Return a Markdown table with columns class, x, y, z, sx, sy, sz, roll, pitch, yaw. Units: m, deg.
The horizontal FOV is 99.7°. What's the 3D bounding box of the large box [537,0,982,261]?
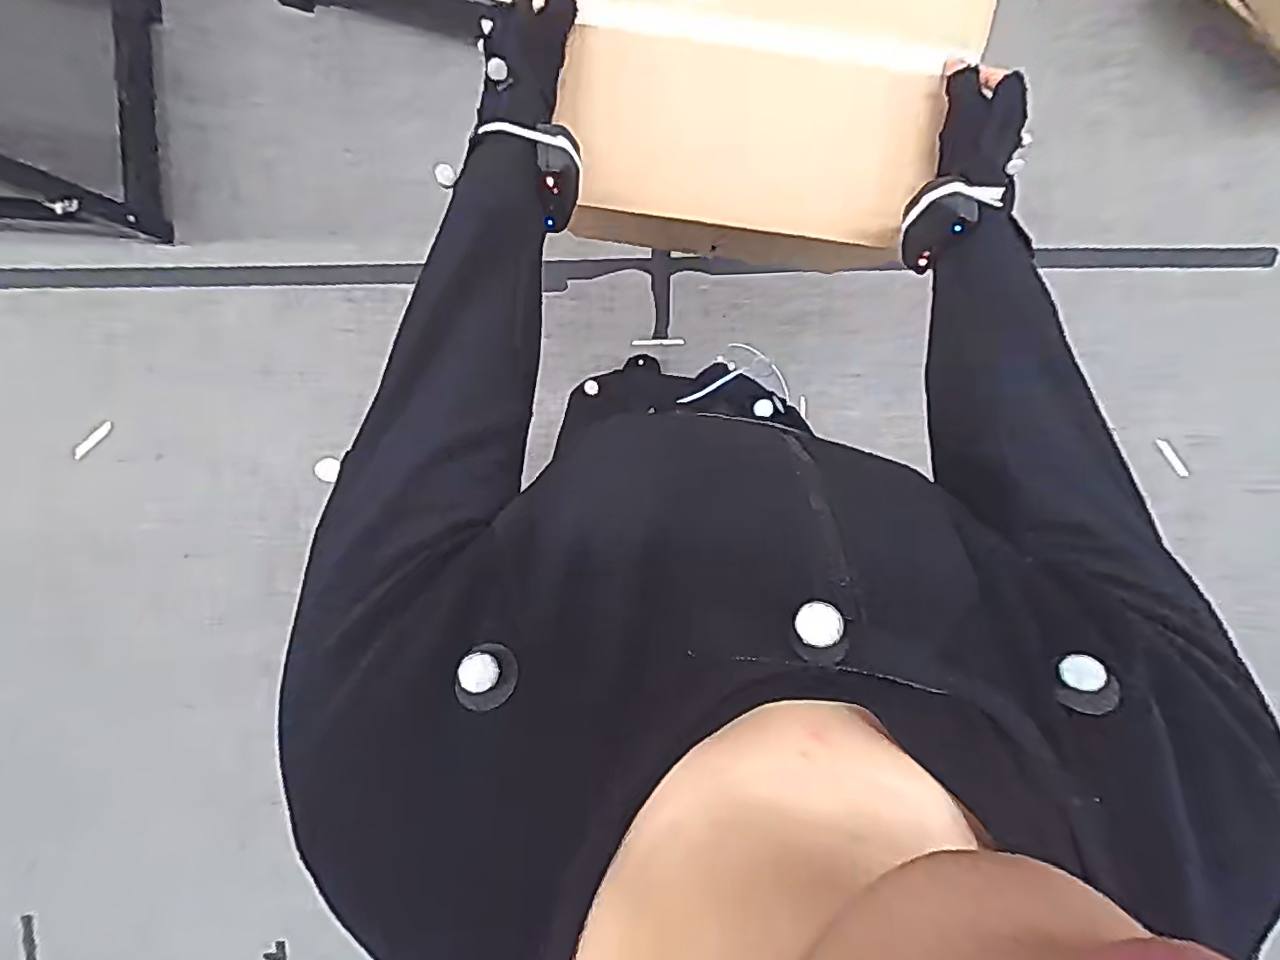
| class | x | y | z | sx | sy | sz | roll | pitch | yaw |
| --- | --- | --- | --- | --- | --- | --- | --- | --- | --- |
| large box | 0.113 | -0.456 | 0.647 | 0.408 | 0.320 | 0.320 | 7 | 107 | -1 |
